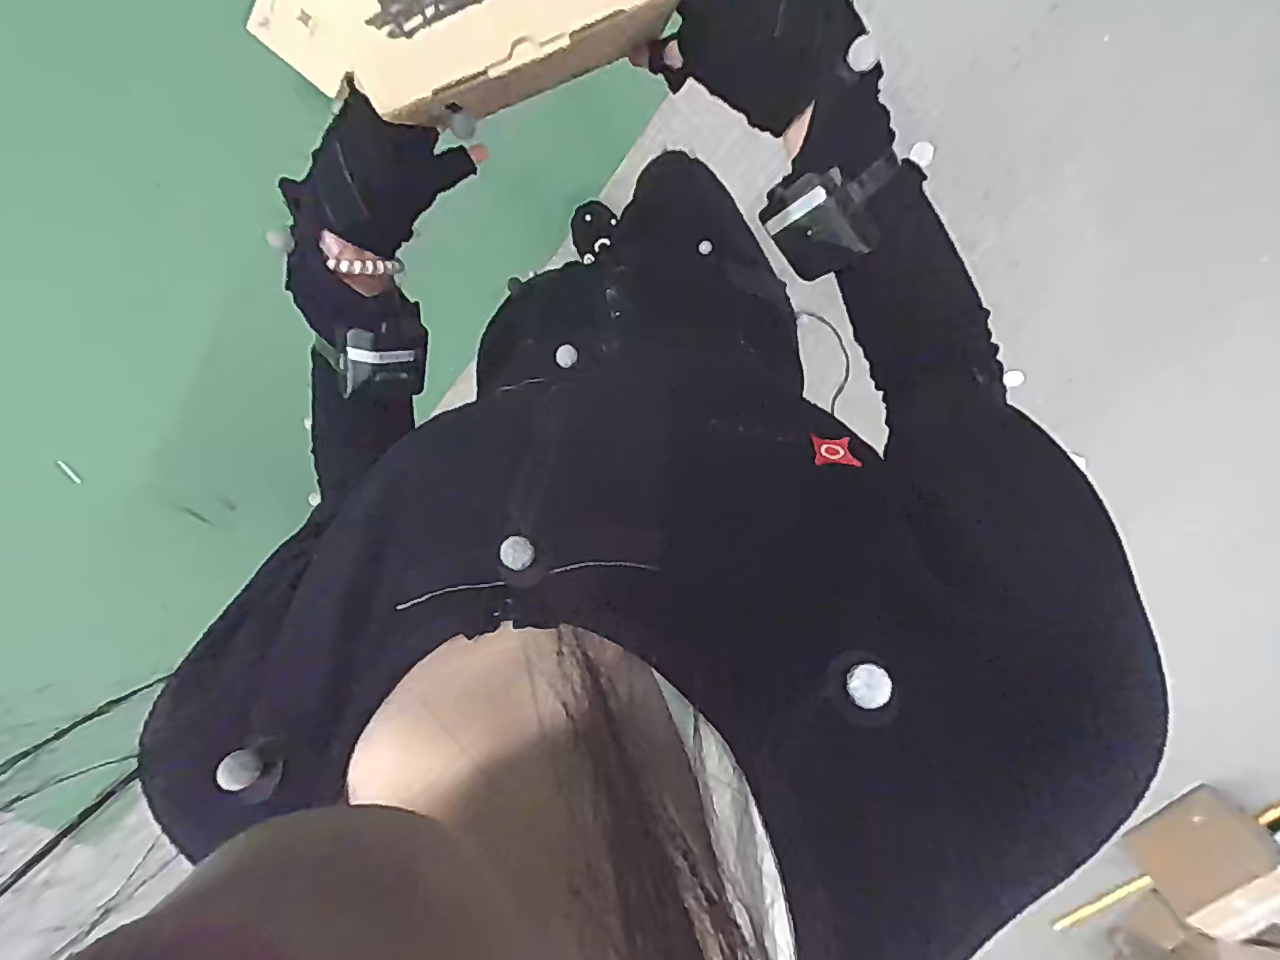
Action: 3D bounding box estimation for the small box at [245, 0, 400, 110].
[{"bbox_3d":[-0.603,-0.861,1.053,0.179,0.176,0.168,37,111,-18],"label":"small box"}]
